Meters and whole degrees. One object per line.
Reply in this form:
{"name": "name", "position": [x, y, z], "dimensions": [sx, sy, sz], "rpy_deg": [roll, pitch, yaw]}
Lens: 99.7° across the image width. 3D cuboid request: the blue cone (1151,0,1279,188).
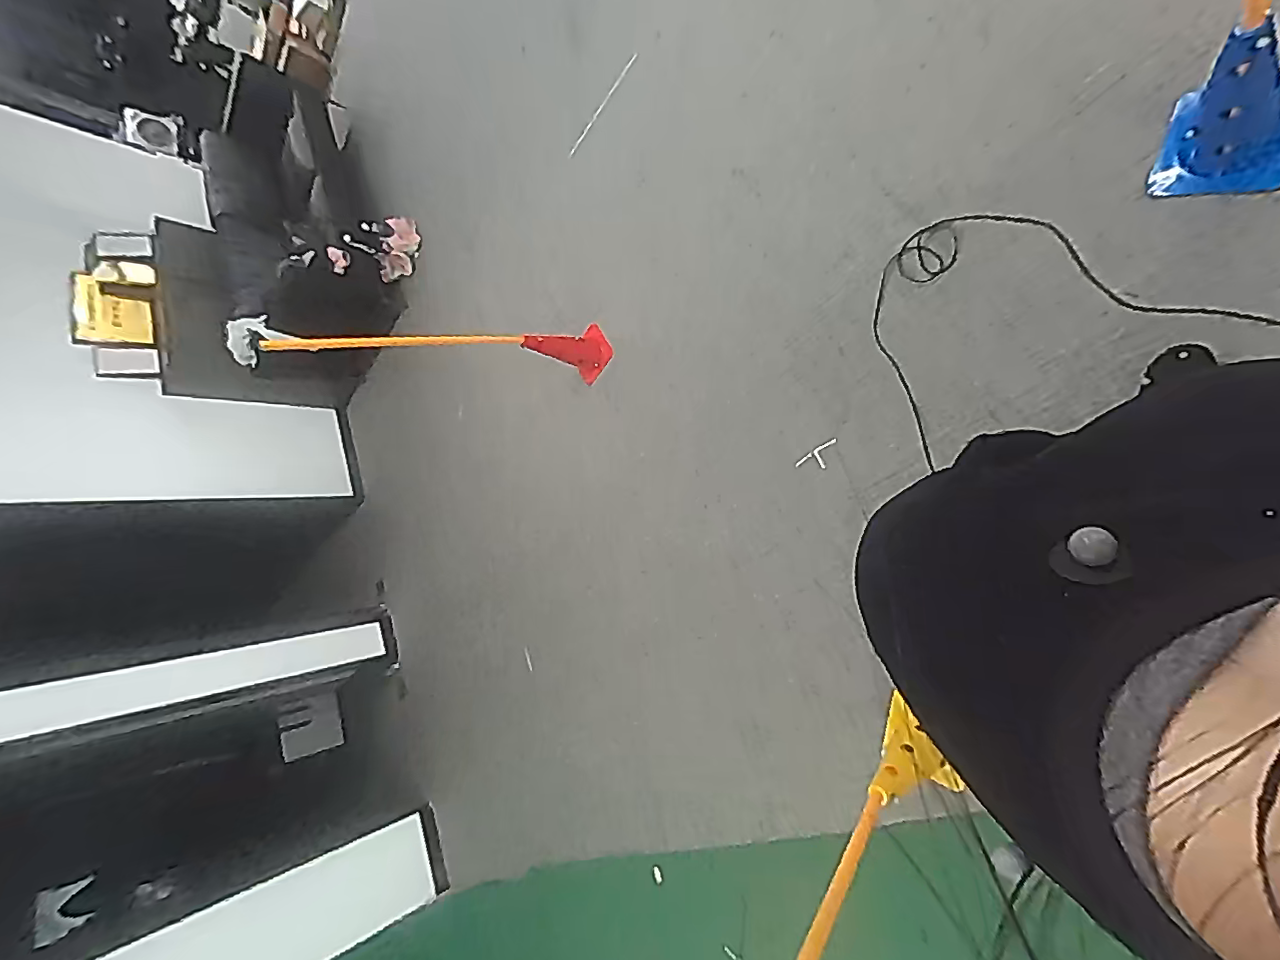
{"name": "blue cone", "position": [1.005, -0.665, 0.909], "dimensions": [0.192, 0.380, 0.193], "rpy_deg": [20, 101, 42]}
